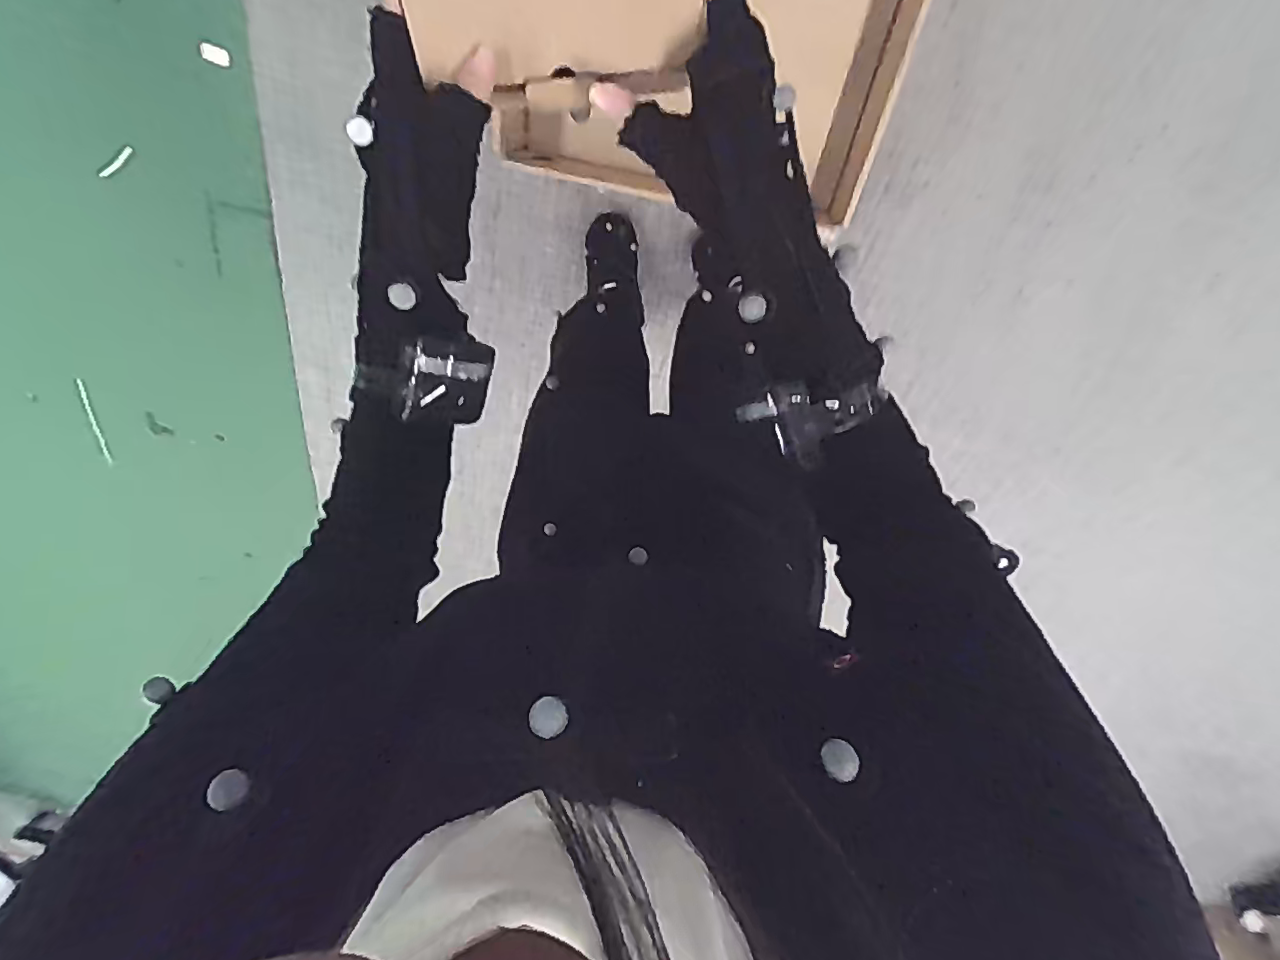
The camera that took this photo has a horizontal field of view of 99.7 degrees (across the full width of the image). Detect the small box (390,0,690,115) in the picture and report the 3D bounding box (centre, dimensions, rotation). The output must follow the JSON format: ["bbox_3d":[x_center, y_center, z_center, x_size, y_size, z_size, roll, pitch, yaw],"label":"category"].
[{"bbox_3d":[-0.056,-0.340,0.333,0.168,0.176,0.179,-4,124,4],"label":"small box"}]
